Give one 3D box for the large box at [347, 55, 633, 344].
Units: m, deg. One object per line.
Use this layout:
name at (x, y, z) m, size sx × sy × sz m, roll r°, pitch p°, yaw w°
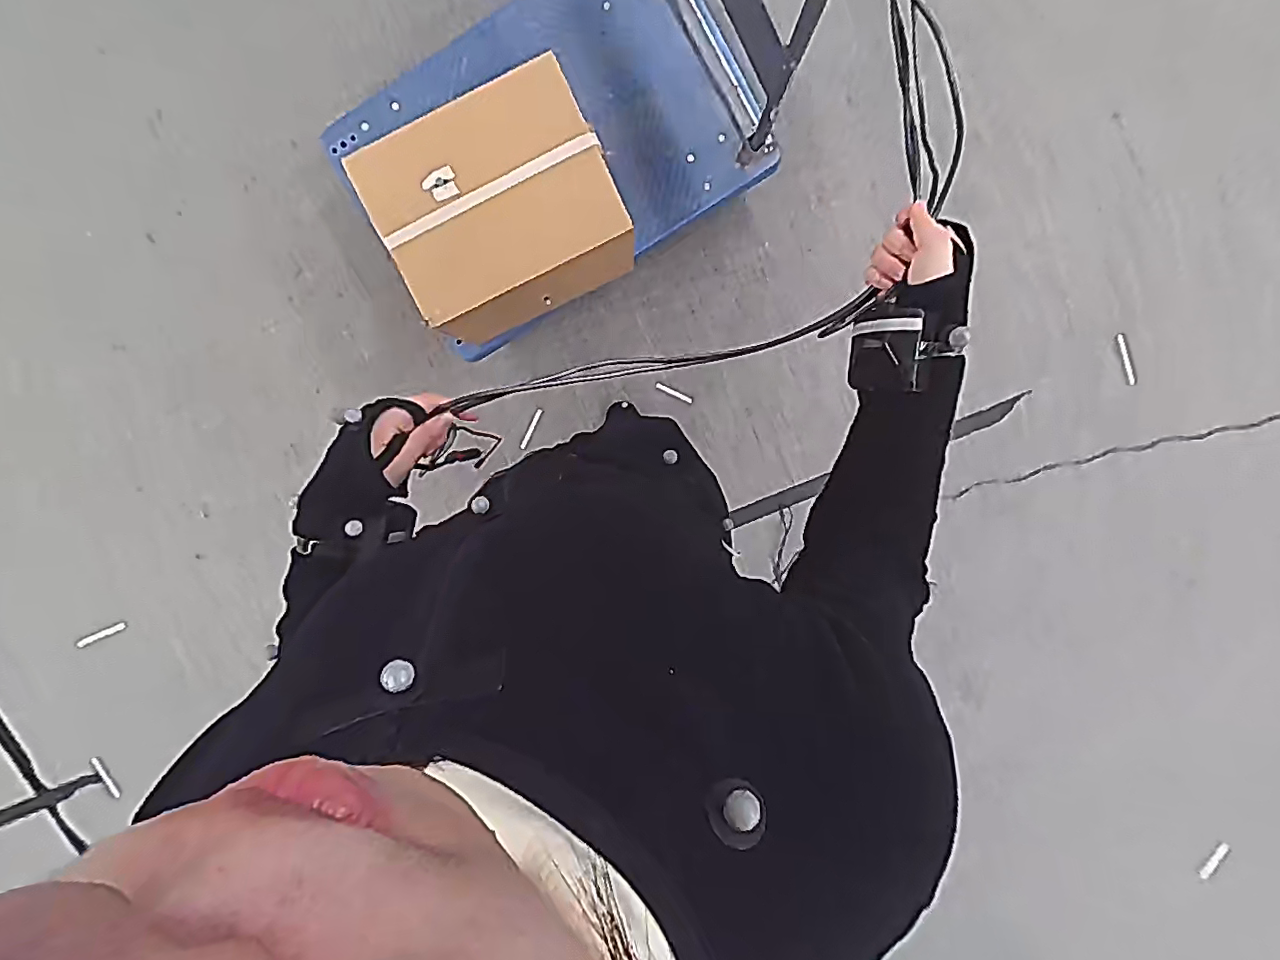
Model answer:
large box at (-0.256, -0.506, 1.069) m, size 0.408 × 0.320 × 0.320 m, roll -26°, pitch 97°, yaw 3°
